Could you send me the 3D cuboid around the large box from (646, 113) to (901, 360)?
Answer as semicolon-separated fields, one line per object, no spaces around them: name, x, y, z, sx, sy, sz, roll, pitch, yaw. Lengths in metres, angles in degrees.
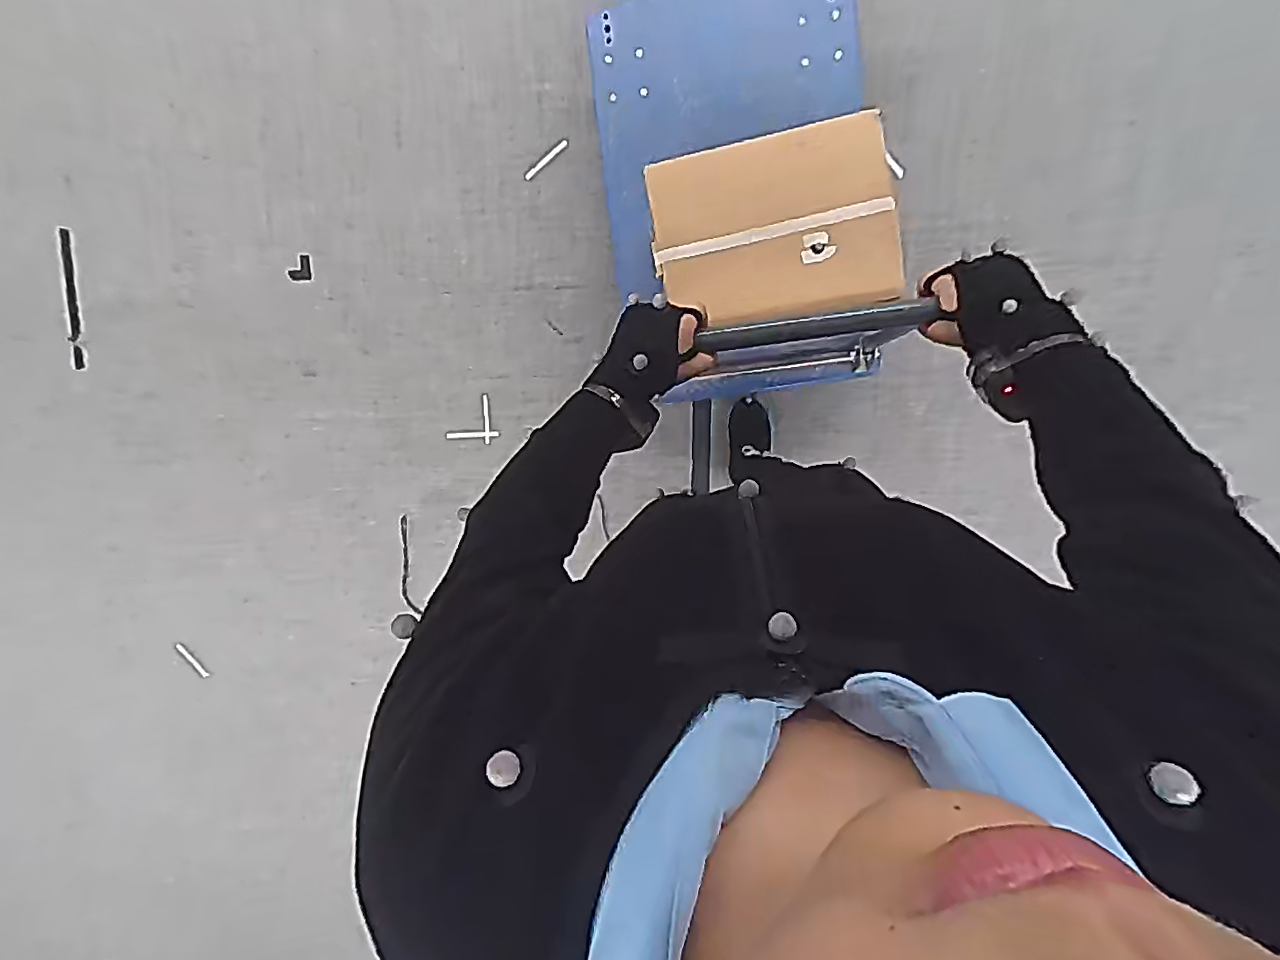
large box;0.244;-0.450;1.094;0.408;0.320;0.320;-11;97;6
